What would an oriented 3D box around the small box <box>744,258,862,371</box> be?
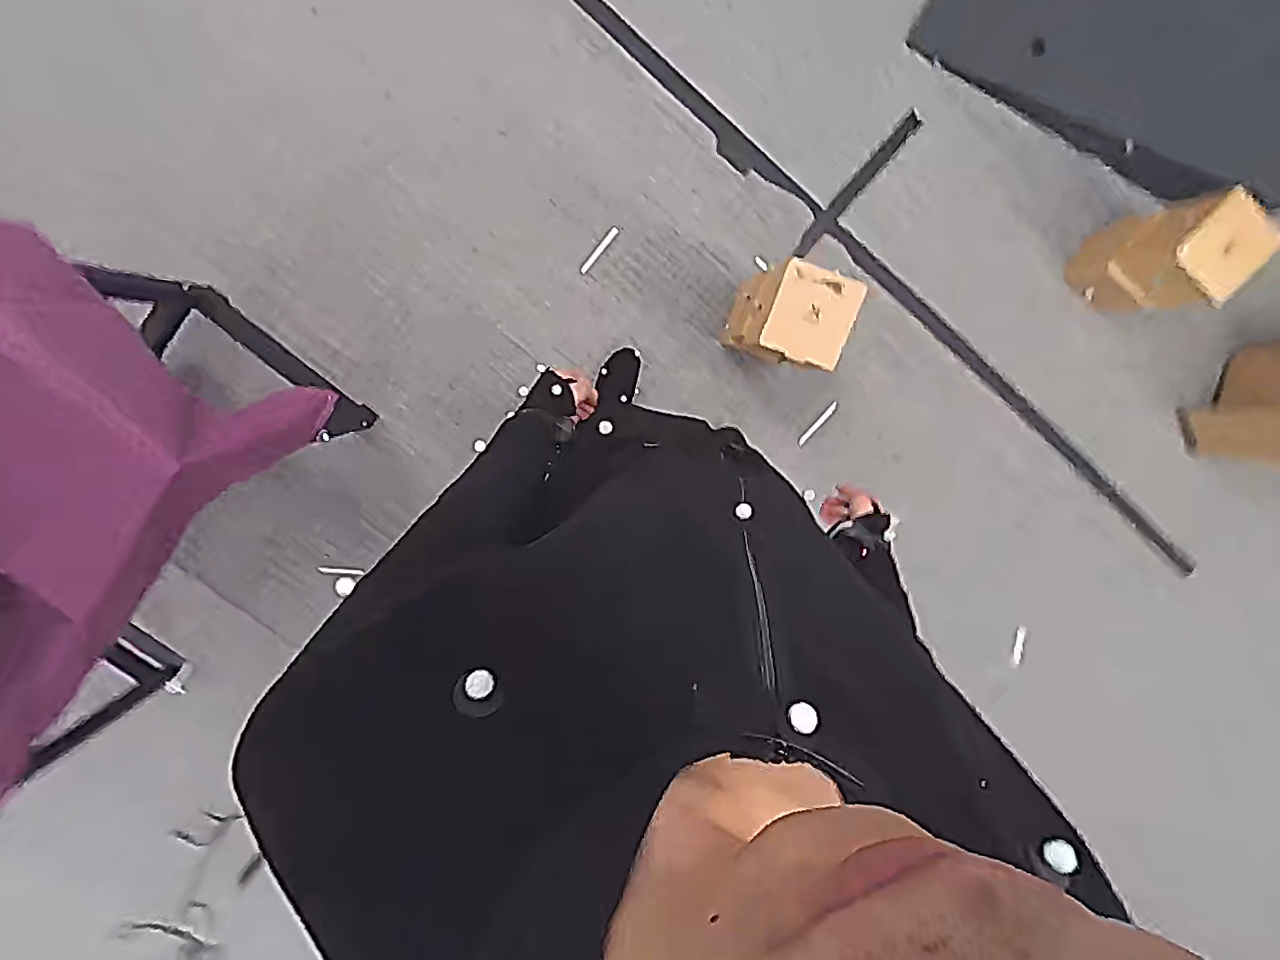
[{"bbox_3d":[0.333,-0.345,1.149,0.168,0.176,0.179,19,103,-5],"label":"small box"}]
